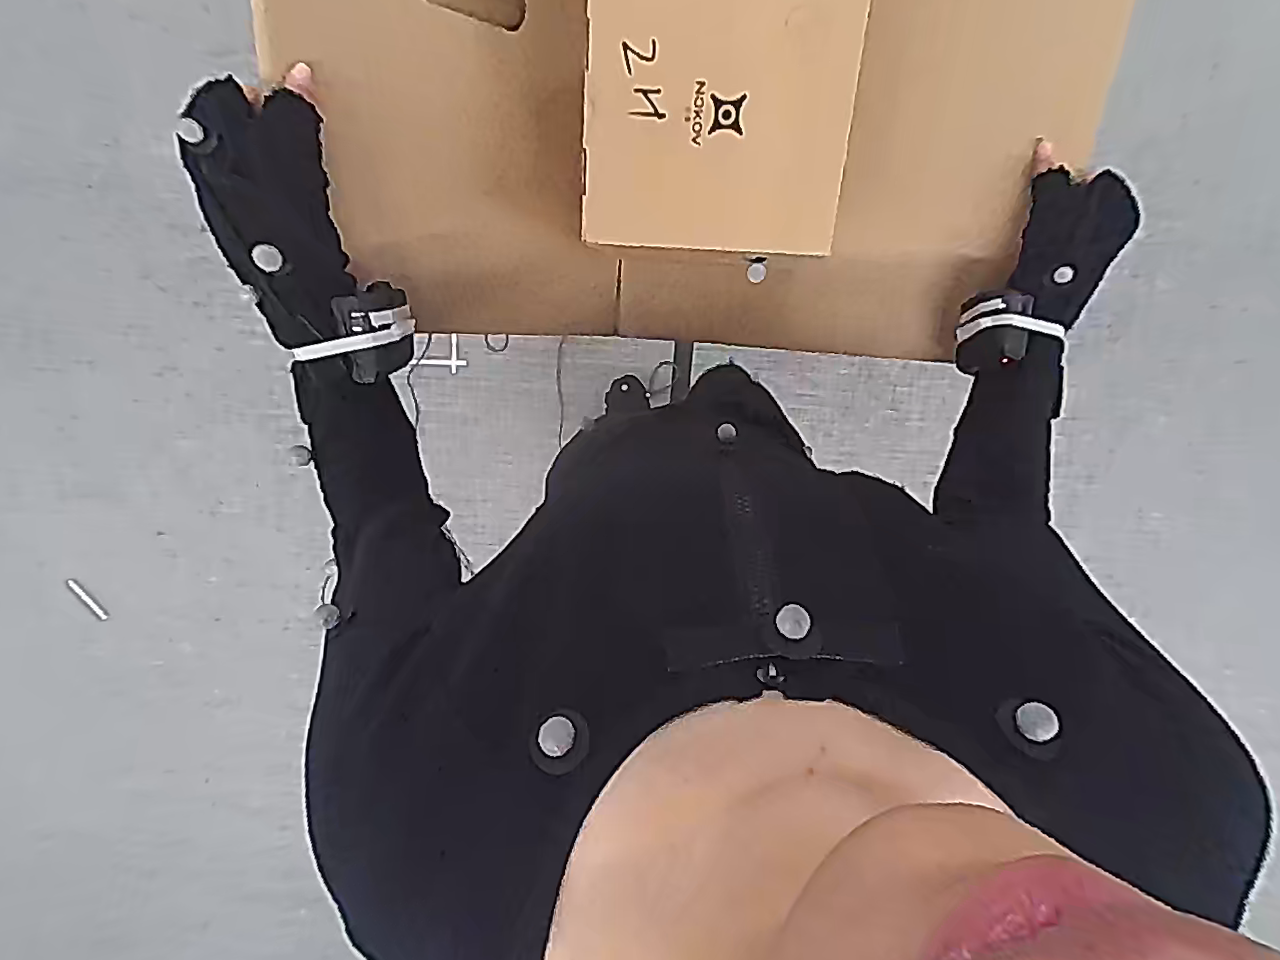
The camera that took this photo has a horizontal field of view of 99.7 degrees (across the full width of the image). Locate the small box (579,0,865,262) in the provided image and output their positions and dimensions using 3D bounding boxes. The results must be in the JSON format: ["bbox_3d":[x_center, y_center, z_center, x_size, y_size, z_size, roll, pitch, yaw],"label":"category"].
[{"bbox_3d":[0.058,-0.272,0.434,0.179,0.176,0.168,7,109,7],"label":"small box"}]
